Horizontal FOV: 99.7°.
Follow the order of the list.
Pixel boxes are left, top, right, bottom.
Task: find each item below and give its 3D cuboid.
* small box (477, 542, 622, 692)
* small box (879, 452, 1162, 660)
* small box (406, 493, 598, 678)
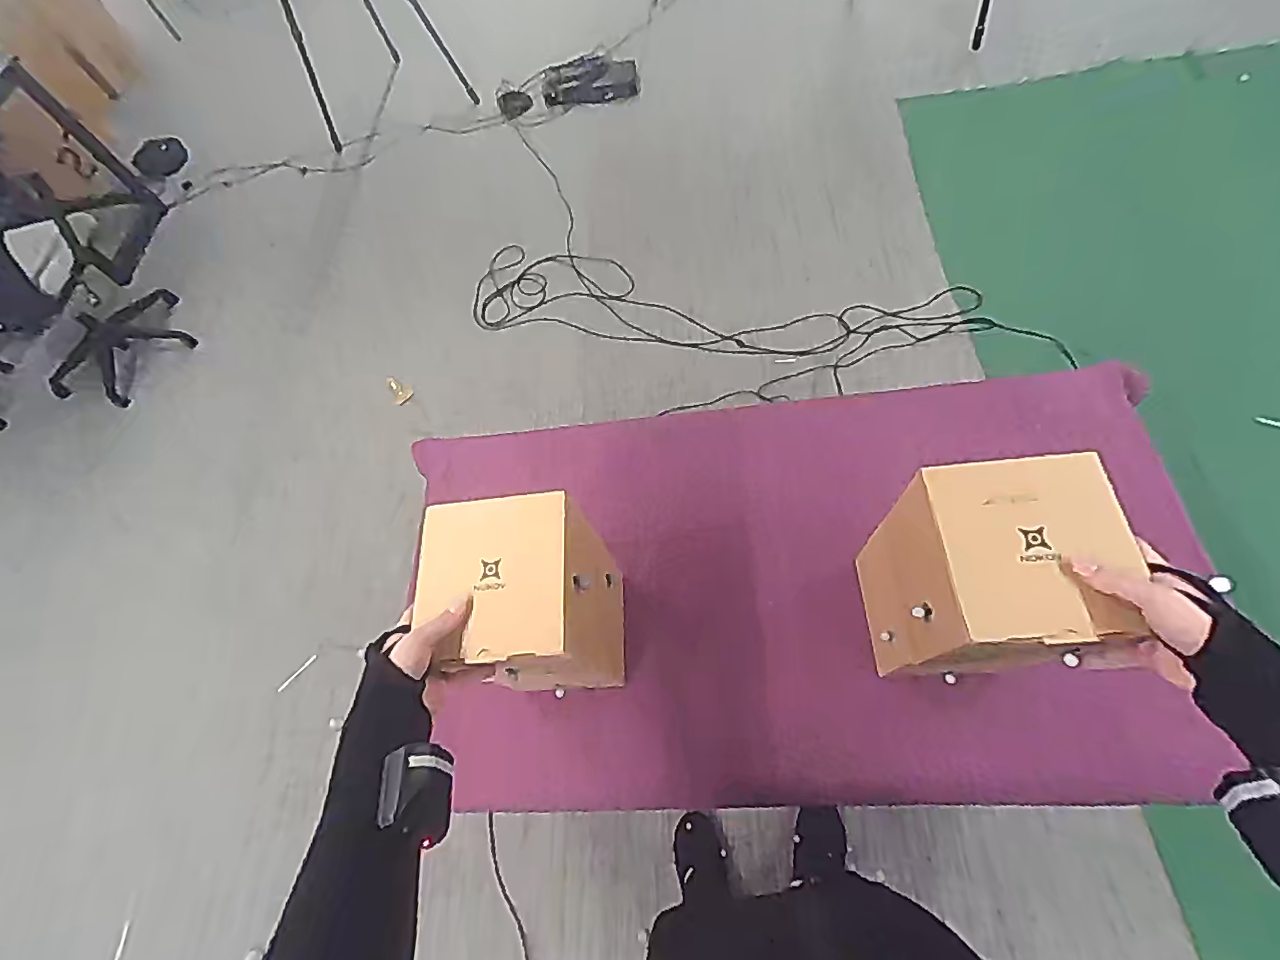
[{"bbox_3d":[-0.123,0.205,0.791,0.168,0.176,0.179,-6,63,8],"label":"small box"},{"bbox_3d":[0.370,0.091,0.570,0.168,0.176,0.179,-5,63,7],"label":"small box"},{"bbox_3d":[-0.149,0.134,0.646,0.168,0.176,0.179,-7,65,7],"label":"small box"}]
